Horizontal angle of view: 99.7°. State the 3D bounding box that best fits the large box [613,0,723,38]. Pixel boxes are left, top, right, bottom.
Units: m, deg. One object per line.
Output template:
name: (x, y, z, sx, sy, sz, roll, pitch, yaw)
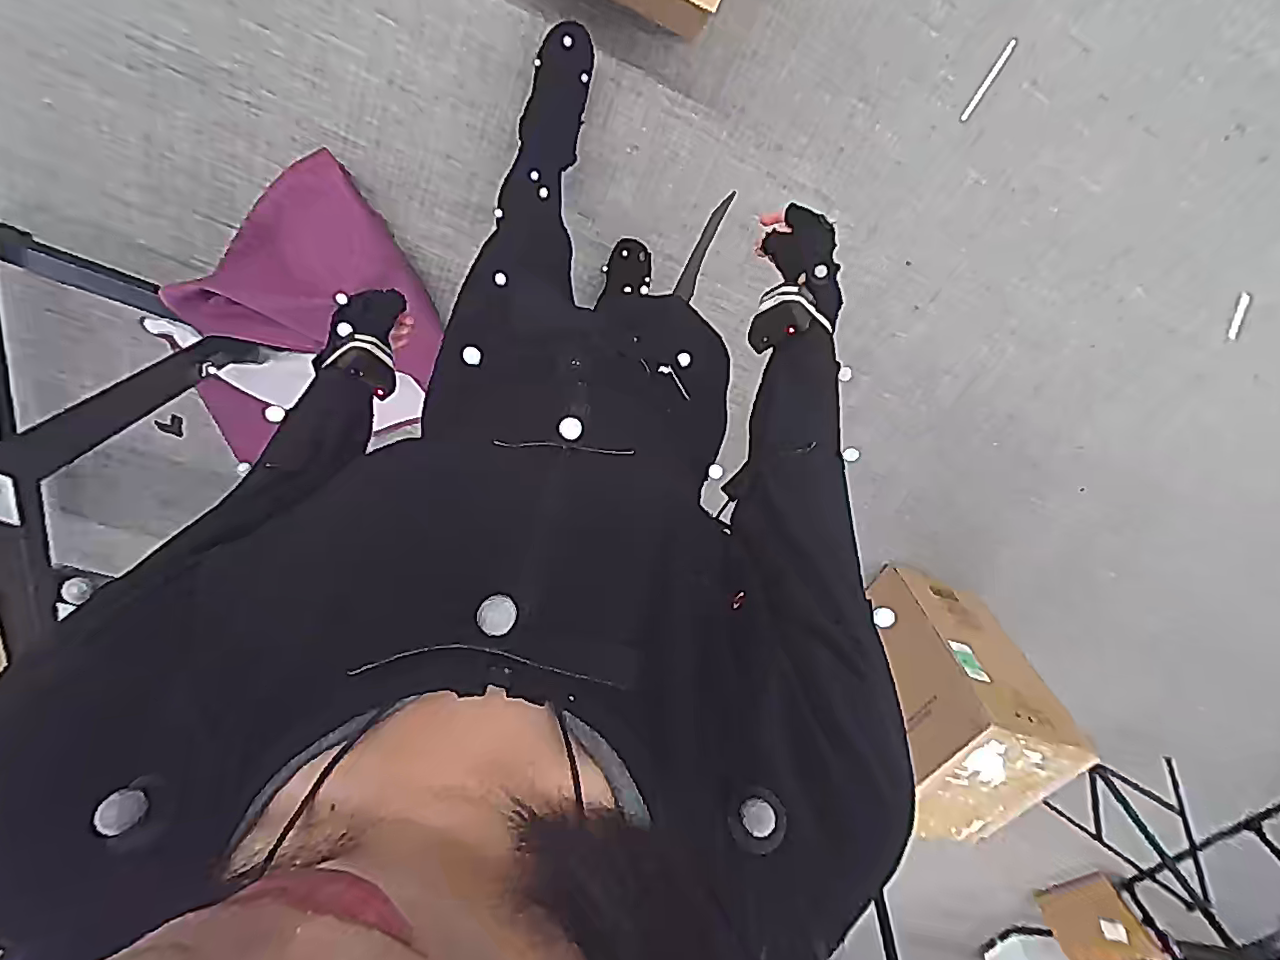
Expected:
large box: (-0.018, -0.987, 0.850, 0.408, 0.320, 0.320, 17, 121, -14)
